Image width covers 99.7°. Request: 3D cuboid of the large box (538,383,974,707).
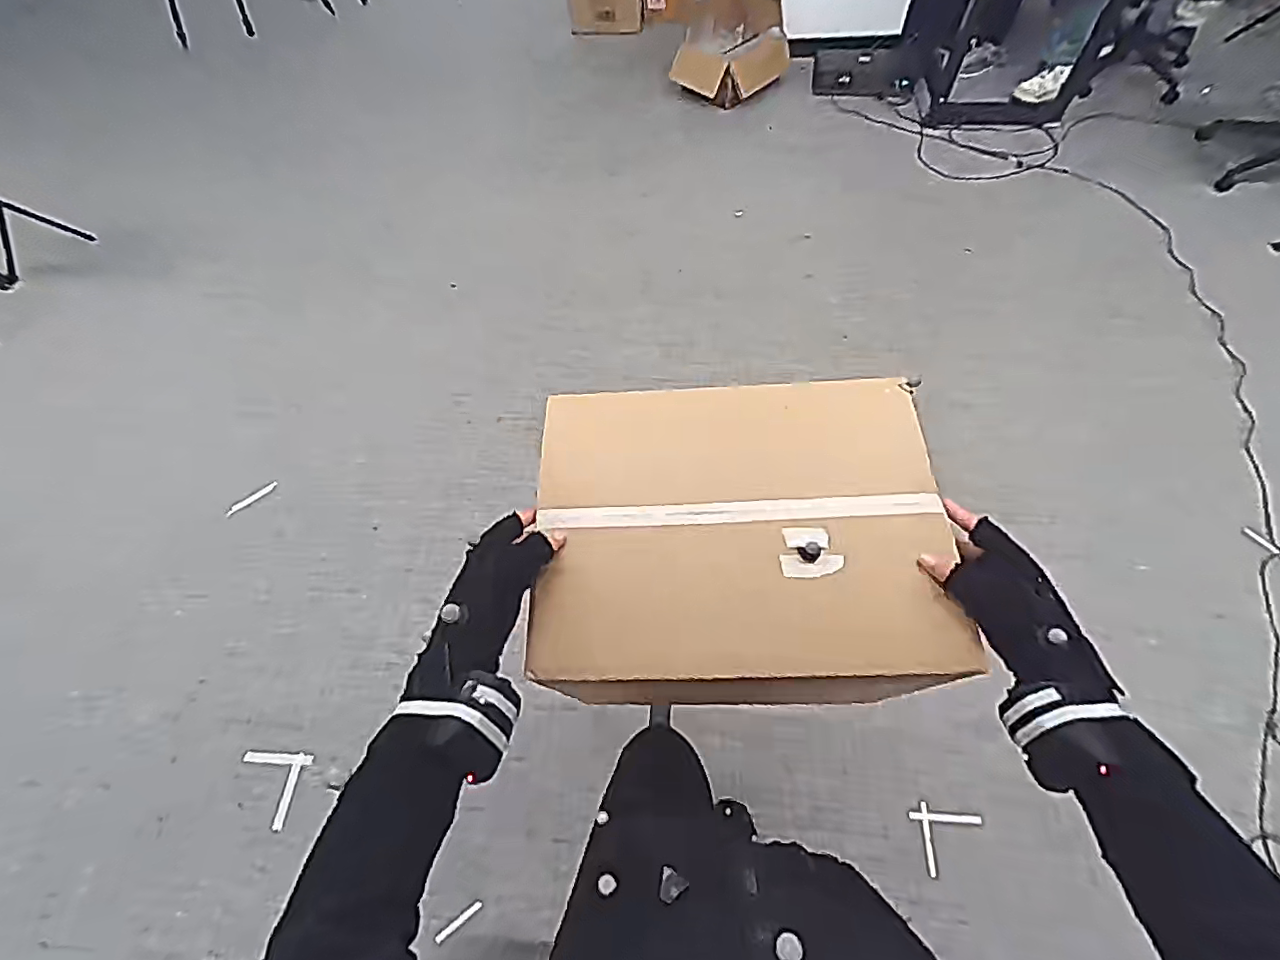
[{"bbox_3d":[0.106,0.104,0.688,0.408,0.320,0.320,-2,63,3],"label":"large box"}]
